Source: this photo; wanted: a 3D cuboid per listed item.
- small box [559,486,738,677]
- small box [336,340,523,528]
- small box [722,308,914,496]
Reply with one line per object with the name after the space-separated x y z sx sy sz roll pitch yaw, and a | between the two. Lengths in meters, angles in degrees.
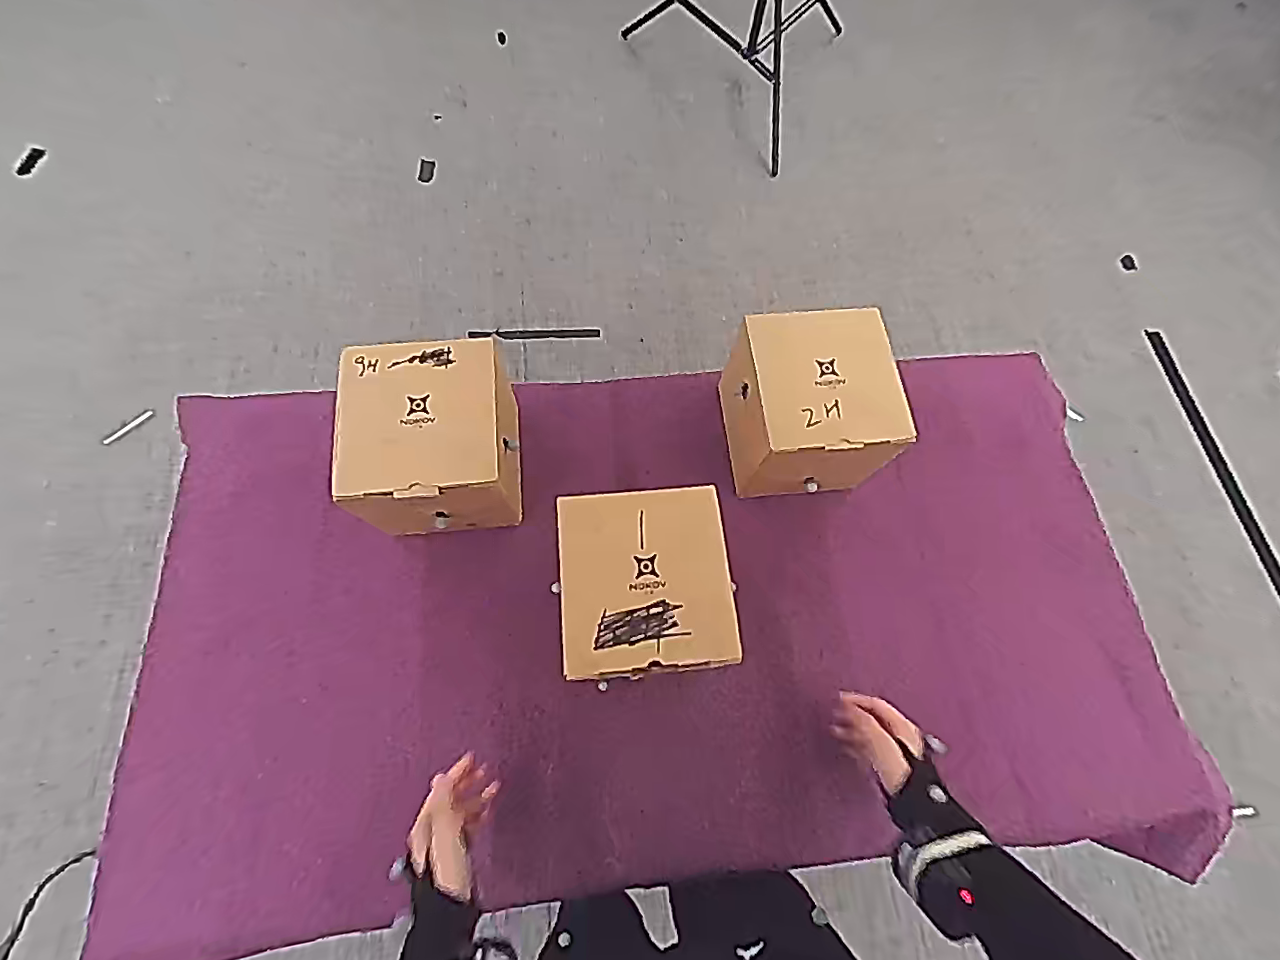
0.003 0.119 0.600 0.168 0.176 0.179 -4 69 -4 | small box
-0.236 -0.044 0.647 0.168 0.176 0.179 -5 72 -5 | small box
0.208 -0.092 0.686 0.168 0.176 0.179 -5 71 -4 | small box
